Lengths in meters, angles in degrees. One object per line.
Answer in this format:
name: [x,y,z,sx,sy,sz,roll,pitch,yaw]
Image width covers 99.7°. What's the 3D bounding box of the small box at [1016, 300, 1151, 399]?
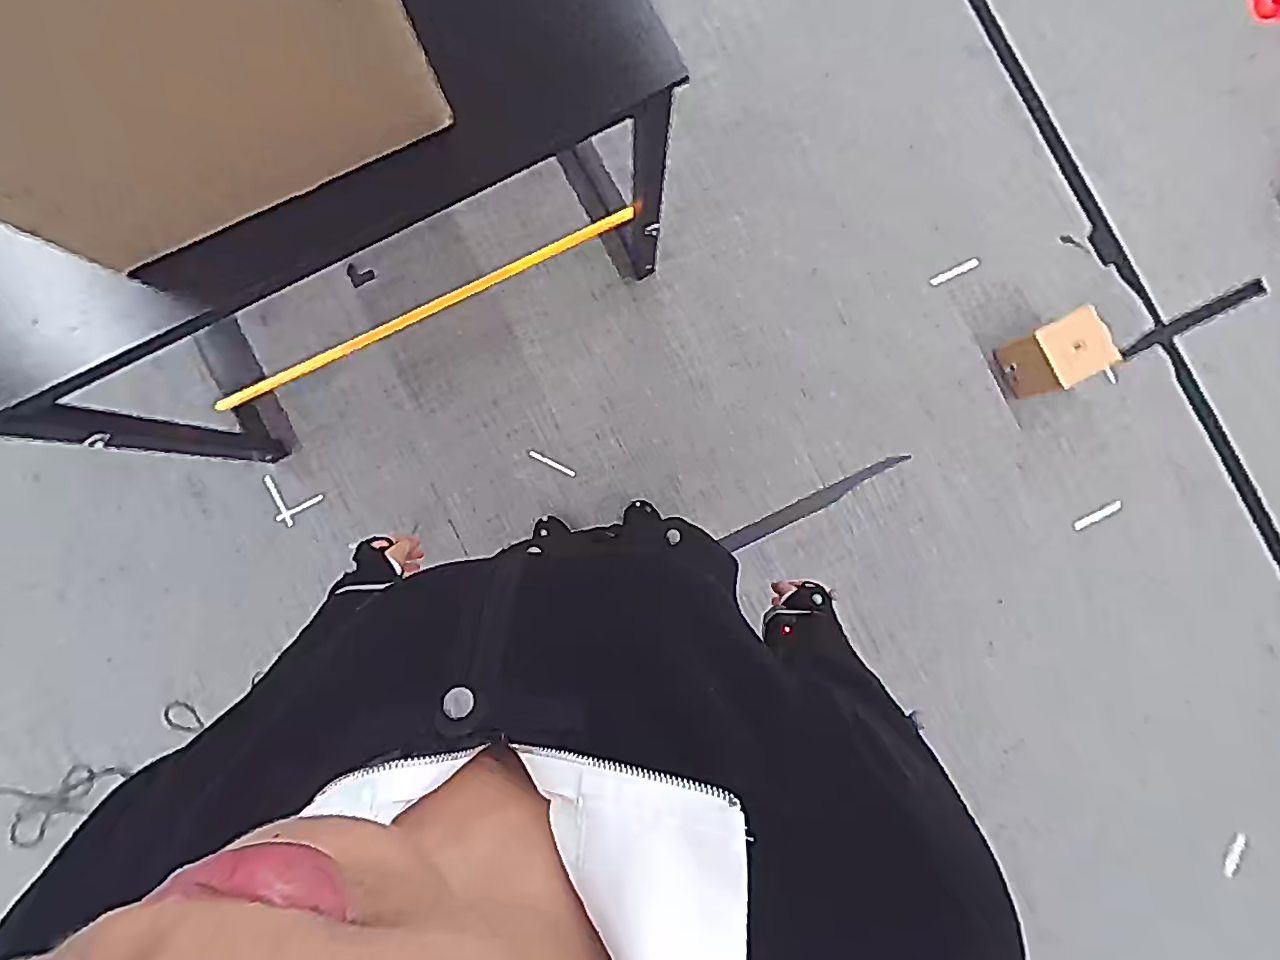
small box: [1.126,-0.326,1.387,0.179,0.176,0.168,-28,89,-1]
